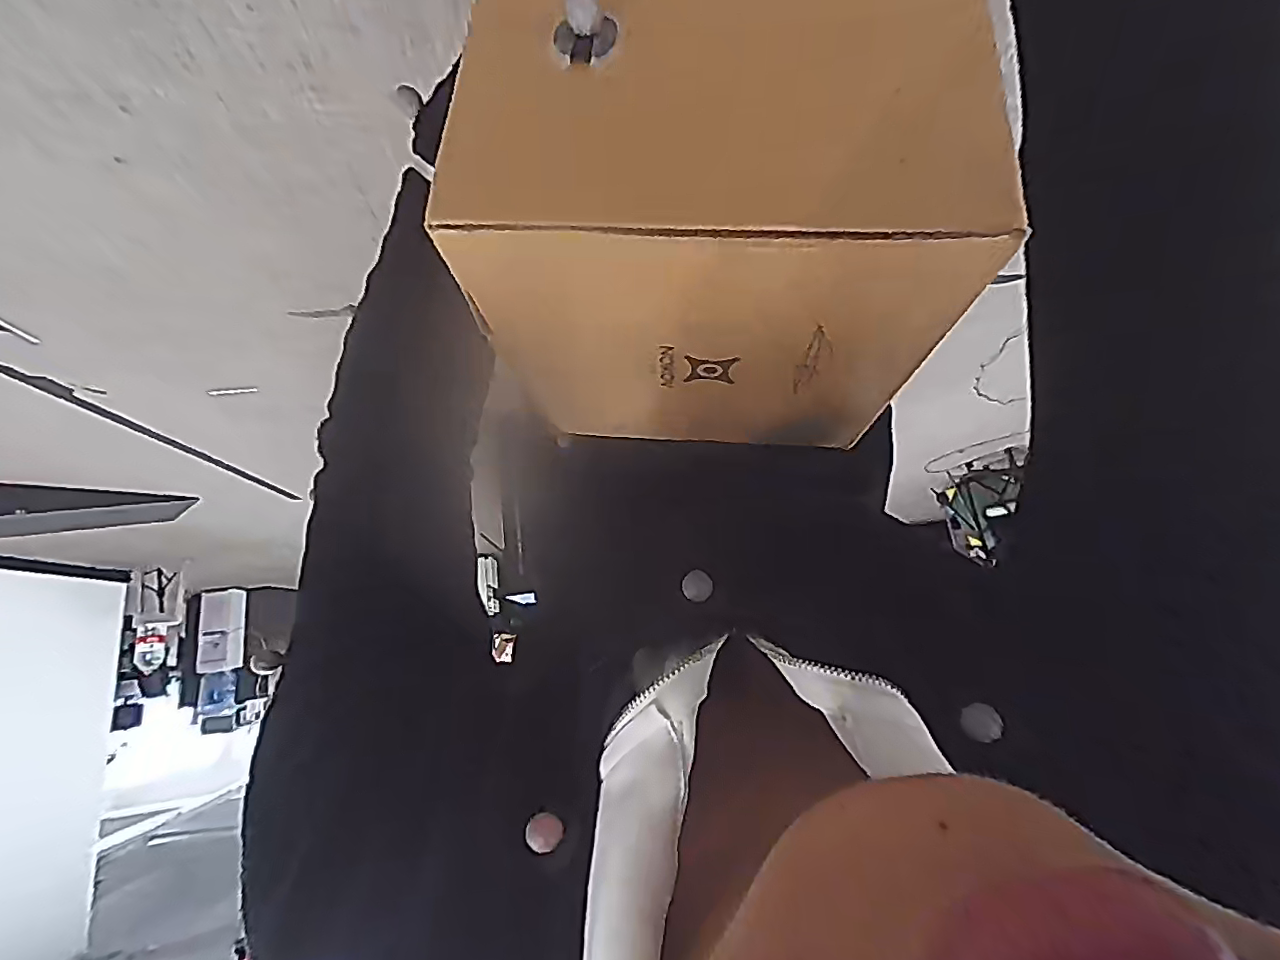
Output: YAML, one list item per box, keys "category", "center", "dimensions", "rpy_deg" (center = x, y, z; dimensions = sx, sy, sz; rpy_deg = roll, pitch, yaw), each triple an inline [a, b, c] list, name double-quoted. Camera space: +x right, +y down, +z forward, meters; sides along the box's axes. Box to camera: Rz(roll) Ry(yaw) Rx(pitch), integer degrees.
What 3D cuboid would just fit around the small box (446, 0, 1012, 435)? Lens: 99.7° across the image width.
- category: "small box"
  center: [0.035, -0.134, 0.263]
  dimensions: [0.179, 0.176, 0.168]
  rpy_deg: [2, 163, 6]
